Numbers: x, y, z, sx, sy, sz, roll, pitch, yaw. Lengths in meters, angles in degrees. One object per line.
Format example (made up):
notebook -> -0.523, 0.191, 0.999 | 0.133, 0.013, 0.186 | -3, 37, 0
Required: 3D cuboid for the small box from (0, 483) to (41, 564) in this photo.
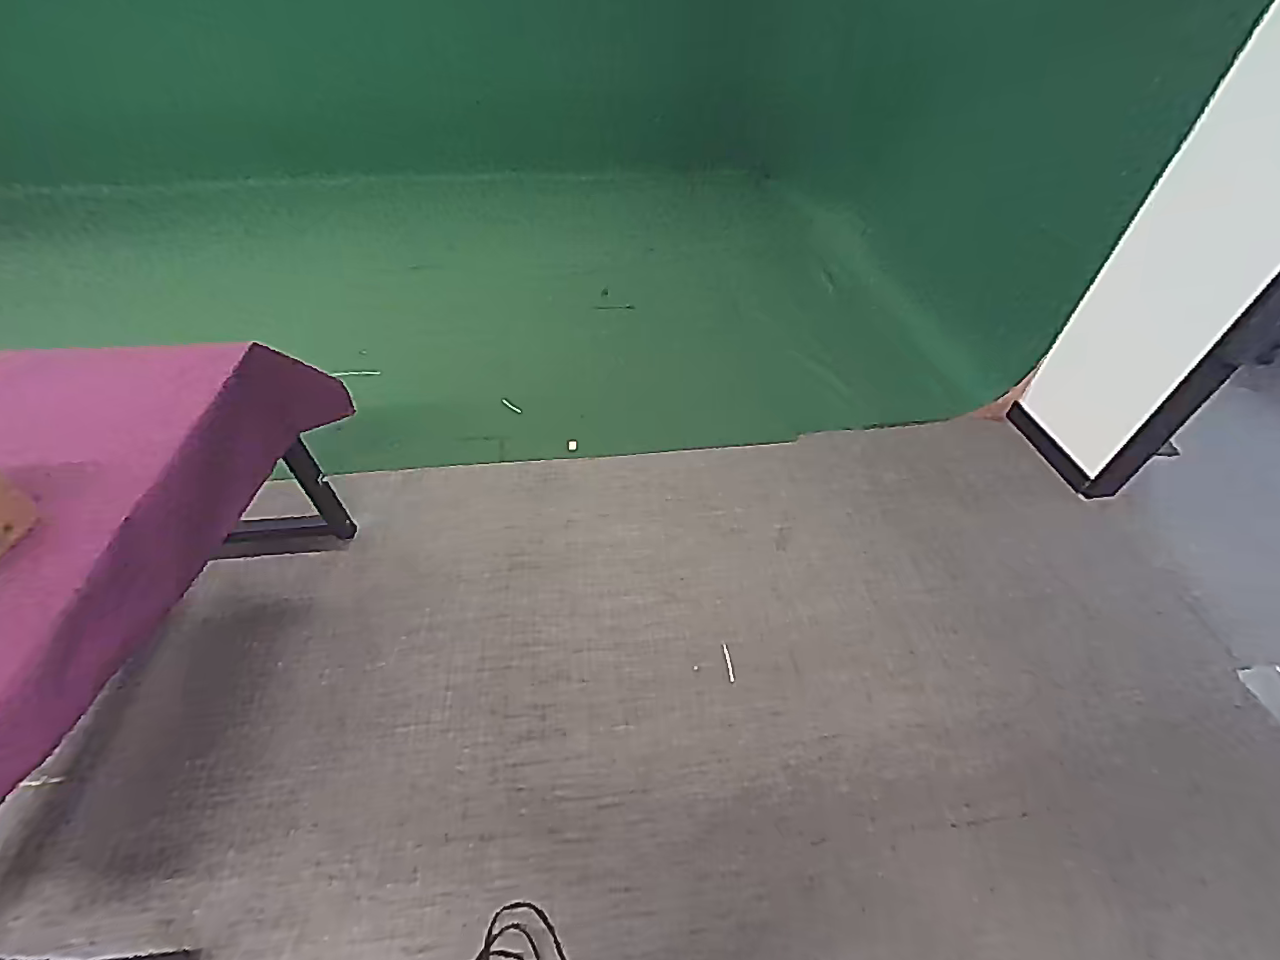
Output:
small box -> -1.146, 0.071, 0.851 | 0.179, 0.176, 0.168 | 0, 48, -1
